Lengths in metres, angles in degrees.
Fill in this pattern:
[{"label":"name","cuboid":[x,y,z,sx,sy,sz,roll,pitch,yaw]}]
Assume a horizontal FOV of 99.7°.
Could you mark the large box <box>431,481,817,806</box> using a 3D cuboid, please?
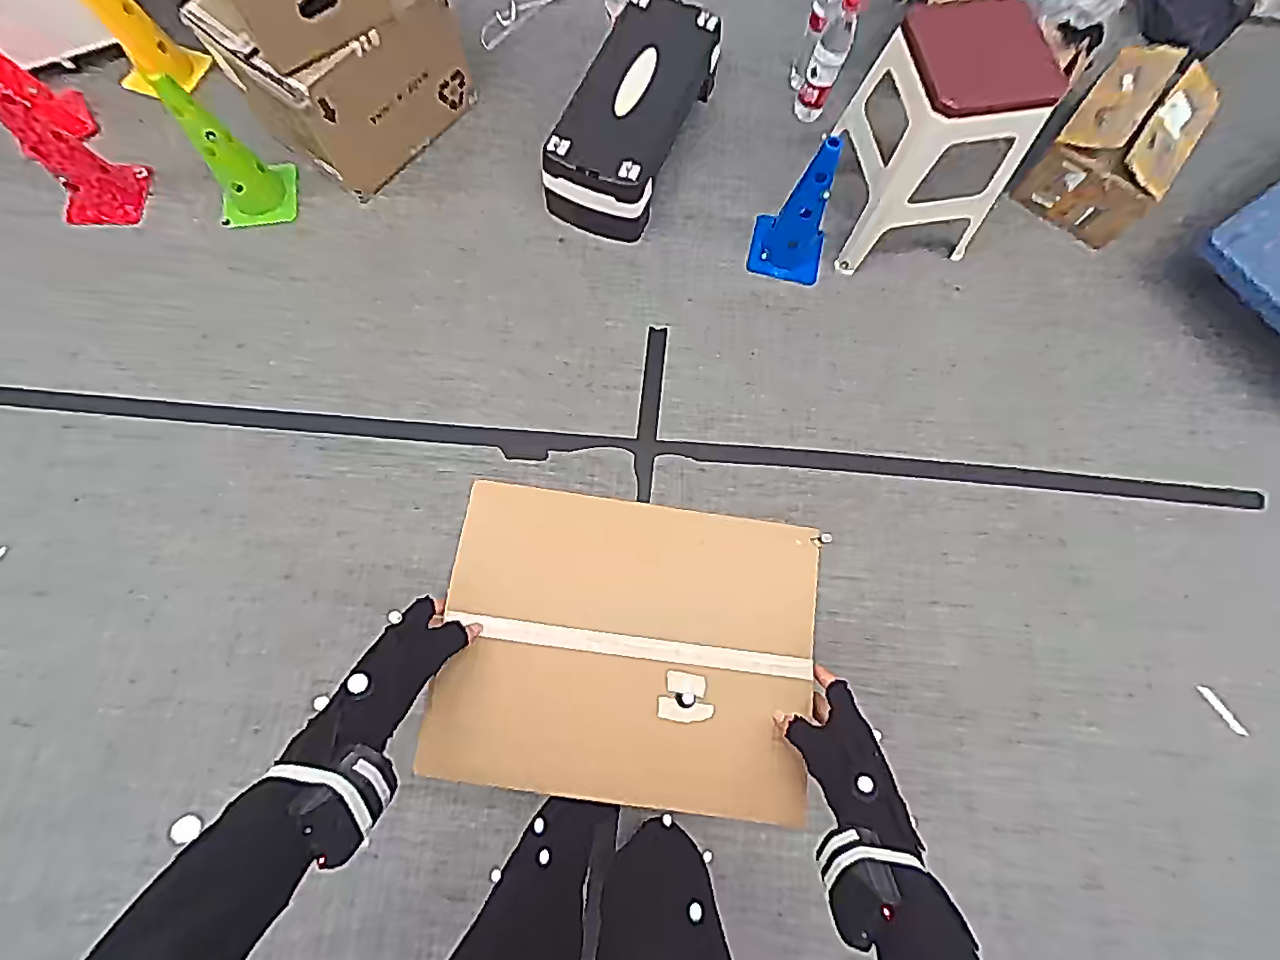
[{"label":"large box","cuboid":[-0.015,0.207,0.744,0.408,0.320,0.320,9,77,-2]}]
